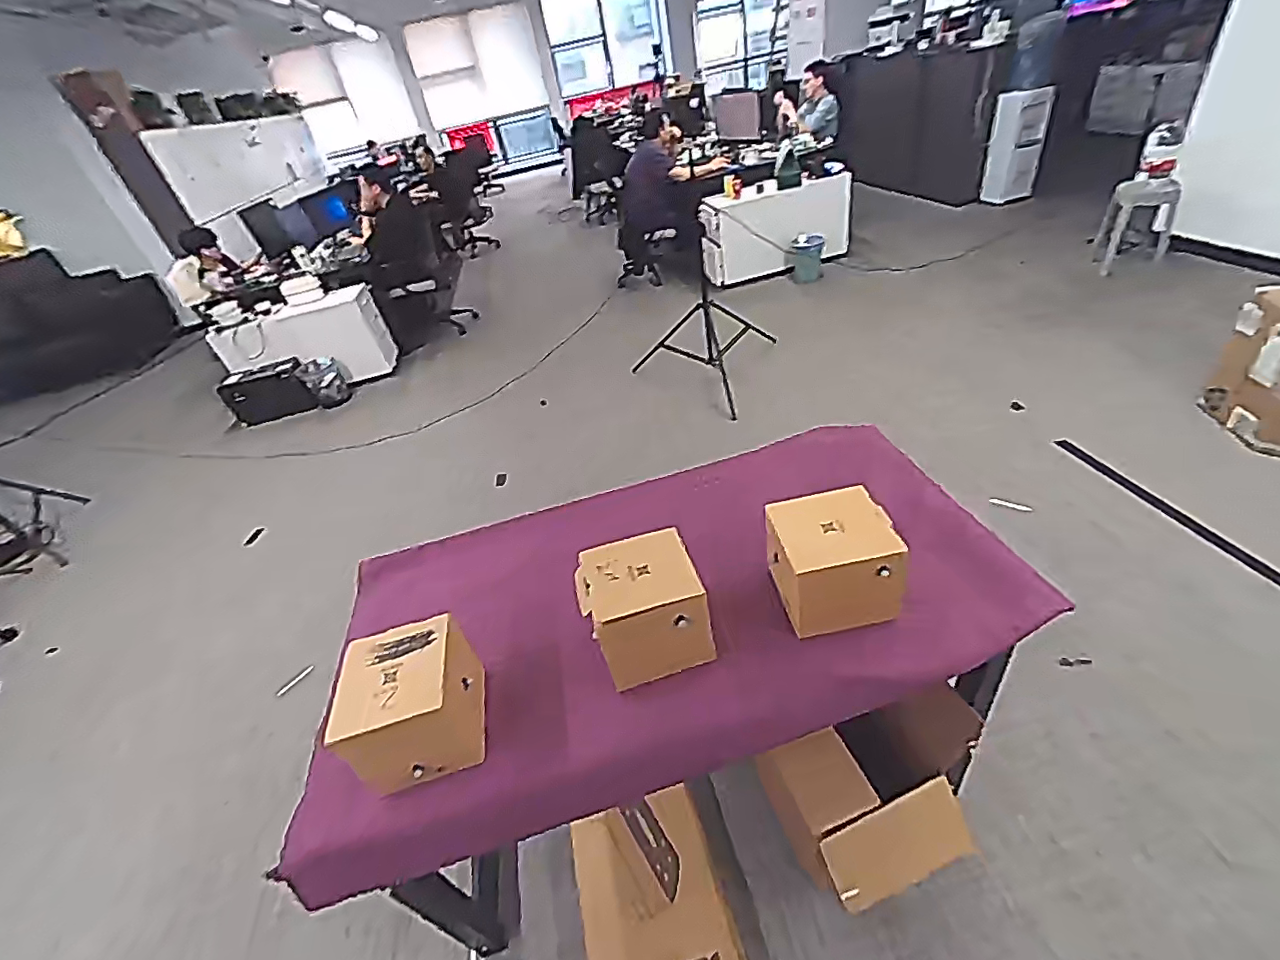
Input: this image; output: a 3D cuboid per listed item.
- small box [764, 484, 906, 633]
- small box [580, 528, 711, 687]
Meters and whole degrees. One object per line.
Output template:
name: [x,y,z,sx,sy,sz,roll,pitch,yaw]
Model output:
small box: [0.322,0.136,0.917,0.179,0.176,0.168,-12,37,1]
small box: [0.012,0.213,0.909,0.179,0.176,0.168,-17,35,-5]
